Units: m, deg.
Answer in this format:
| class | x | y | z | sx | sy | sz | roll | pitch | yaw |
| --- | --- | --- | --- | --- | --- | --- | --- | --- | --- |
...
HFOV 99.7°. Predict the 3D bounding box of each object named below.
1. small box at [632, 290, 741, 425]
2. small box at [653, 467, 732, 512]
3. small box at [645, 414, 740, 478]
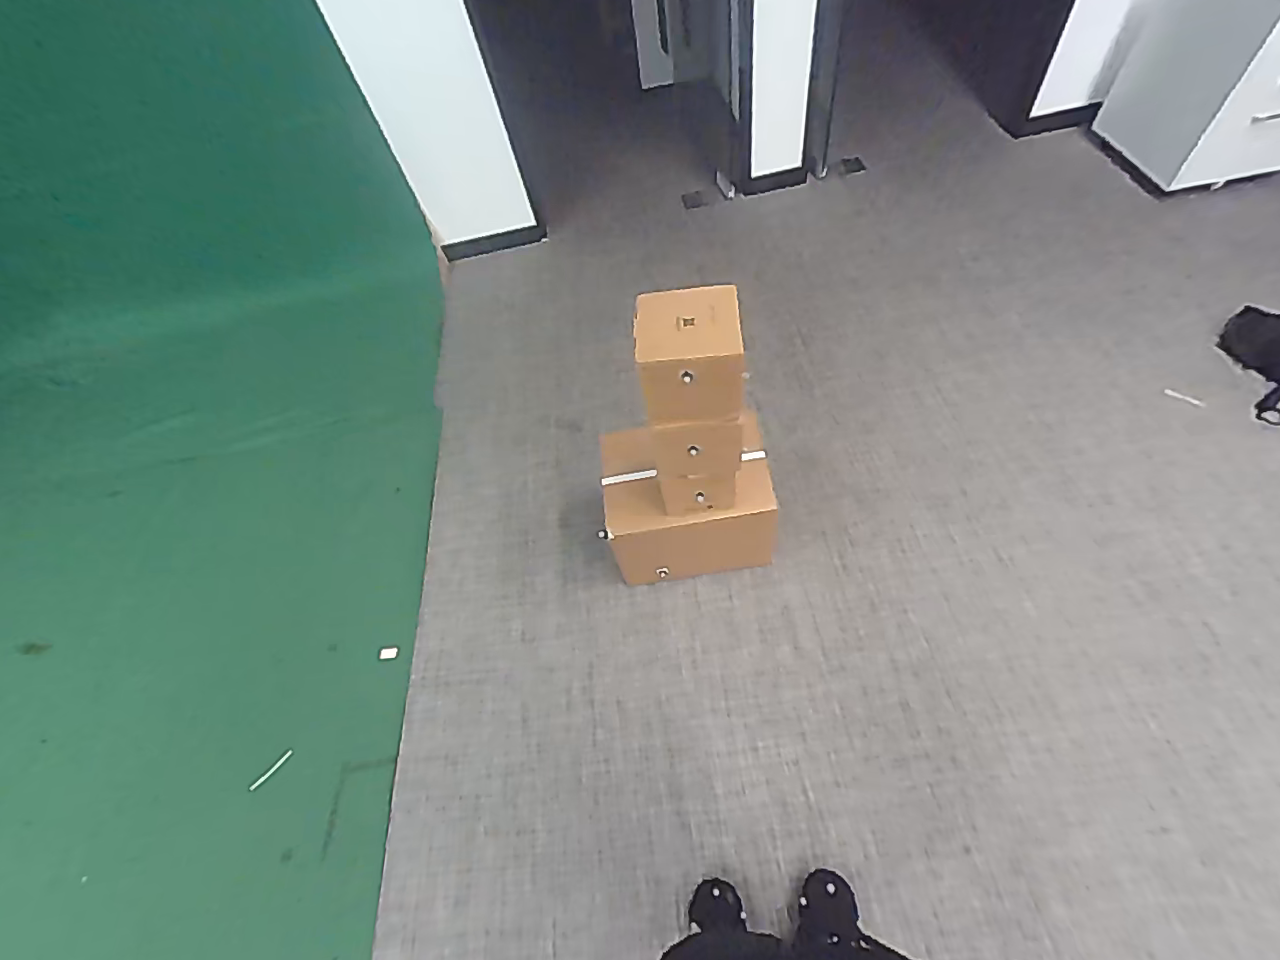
| class | x | y | z | sx | sy | sz | roll | pitch | yaw |
| --- | --- | --- | --- | --- | --- | --- | --- | --- | --- |
| small box | 0.085 | -0.212 | 0.963 | 0.179 | 0.176 | 0.168 | -3 | 59 | 6 |
| small box | 0.118 | -0.038 | 1.238 | 0.168 | 0.176 | 0.179 | -7 | 58 | 5 |
| small box | 0.105 | -0.119 | 1.094 | 0.179 | 0.176 | 0.168 | -5 | 57 | 7 |
